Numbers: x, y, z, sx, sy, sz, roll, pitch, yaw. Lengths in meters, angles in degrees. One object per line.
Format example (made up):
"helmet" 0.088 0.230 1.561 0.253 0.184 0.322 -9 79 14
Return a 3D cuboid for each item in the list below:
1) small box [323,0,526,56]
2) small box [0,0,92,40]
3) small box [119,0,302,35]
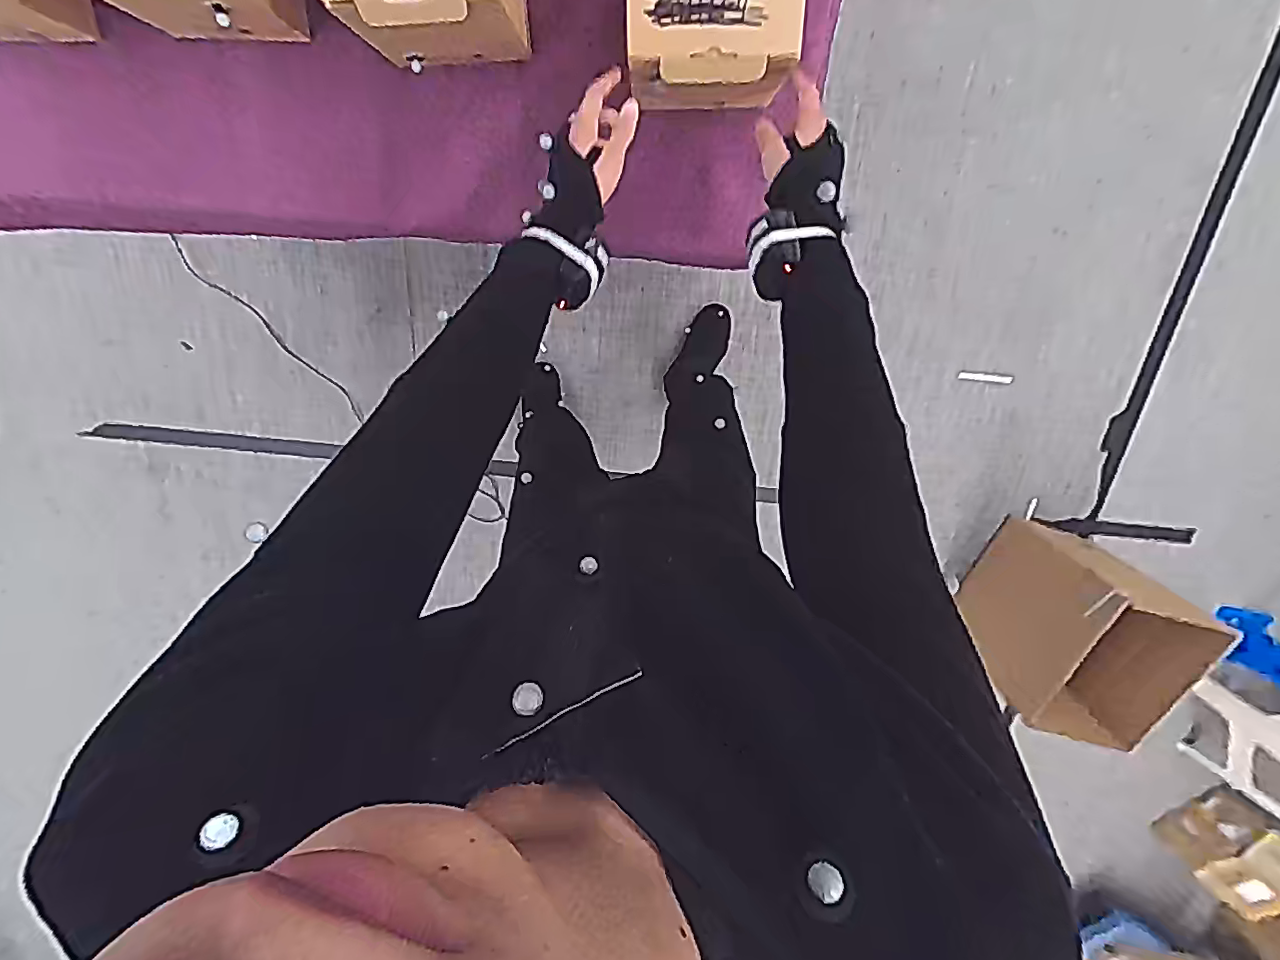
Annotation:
"small box" -0.218 -0.555 0.540 0.168 0.176 0.179 -3 111 1
"small box" -0.721 -0.576 0.534 0.168 0.176 0.179 1 112 1
"small box" -0.470 -0.577 0.534 0.168 0.176 0.179 2 111 -1
